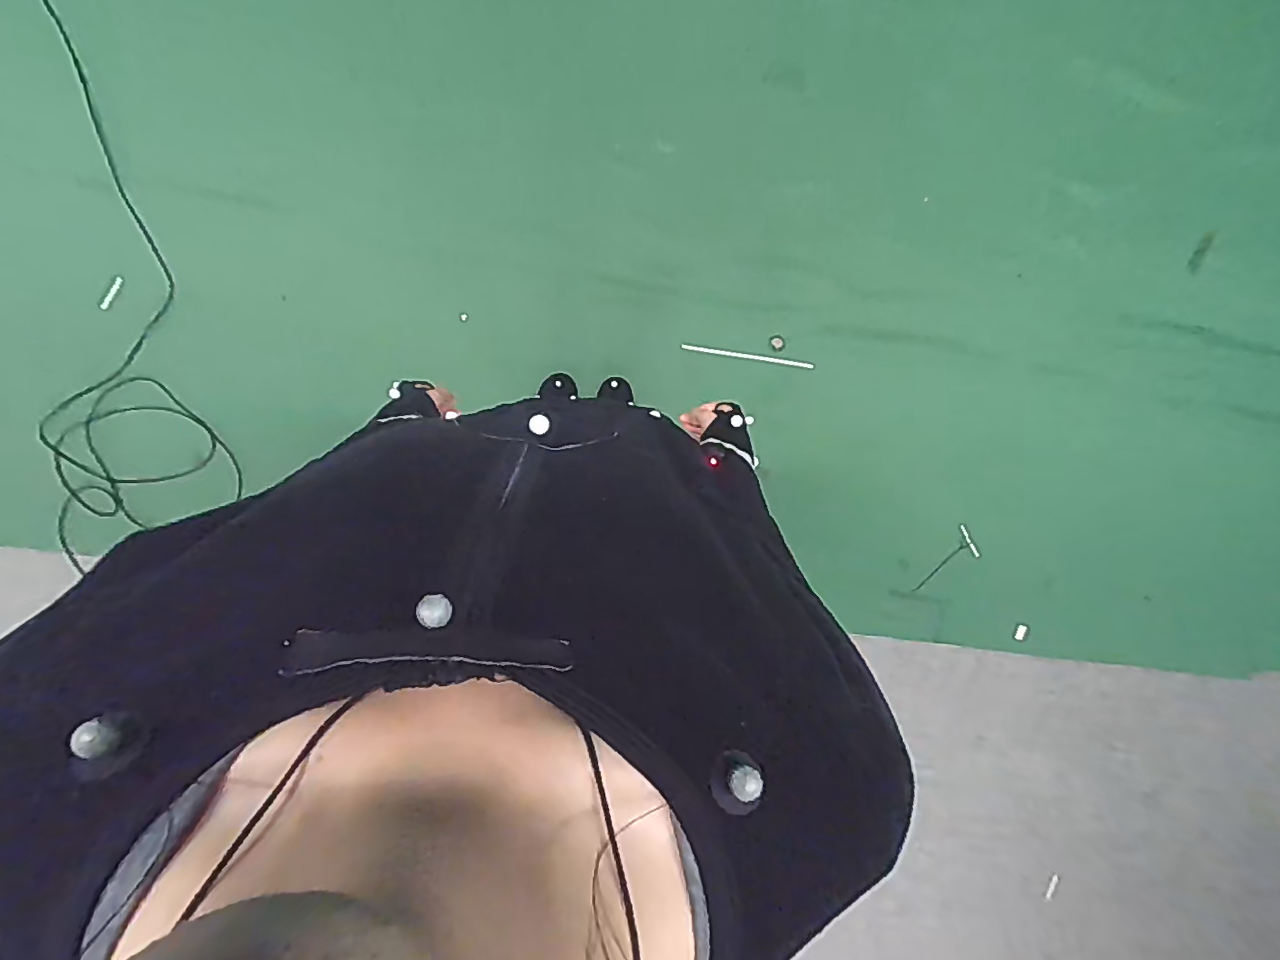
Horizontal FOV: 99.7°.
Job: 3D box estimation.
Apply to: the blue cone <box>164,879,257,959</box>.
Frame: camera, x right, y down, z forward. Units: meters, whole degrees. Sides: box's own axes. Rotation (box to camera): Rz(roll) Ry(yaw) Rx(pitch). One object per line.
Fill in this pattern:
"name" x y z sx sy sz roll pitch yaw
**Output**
"blue cone" -1.289 1.368 1.506 0.193 0.380 0.192 -36 104 5
